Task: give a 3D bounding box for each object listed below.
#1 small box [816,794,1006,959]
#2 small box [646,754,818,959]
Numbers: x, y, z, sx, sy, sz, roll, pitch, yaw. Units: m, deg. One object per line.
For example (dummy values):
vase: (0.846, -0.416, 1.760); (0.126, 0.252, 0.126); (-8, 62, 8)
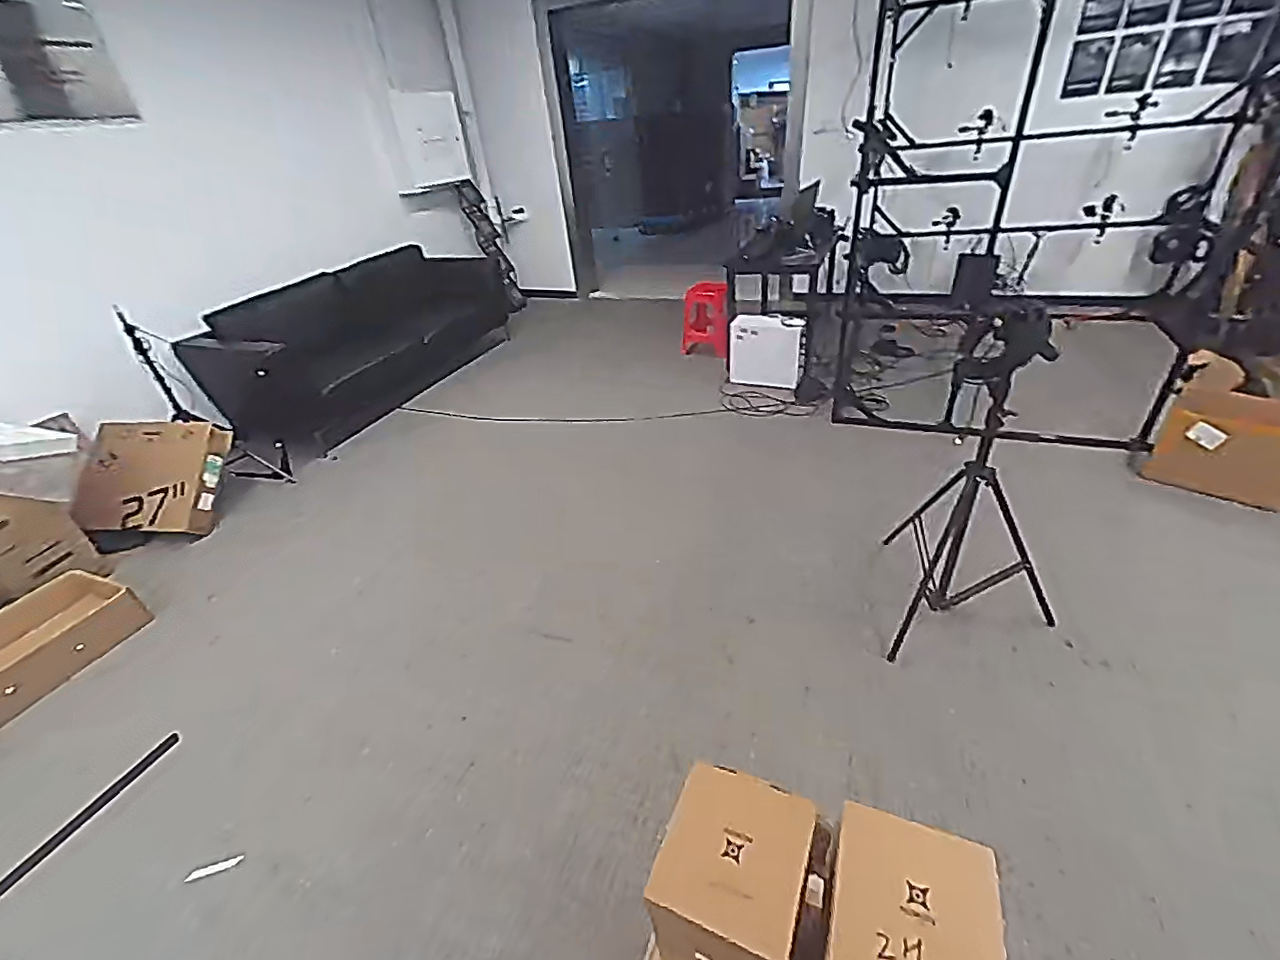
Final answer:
small box: (0.303, 0.517, 0.628); (0.168, 0.176, 0.179); (9, 38, 20)
small box: (0.124, 0.497, 0.688); (0.168, 0.176, 0.179); (7, 38, 25)
